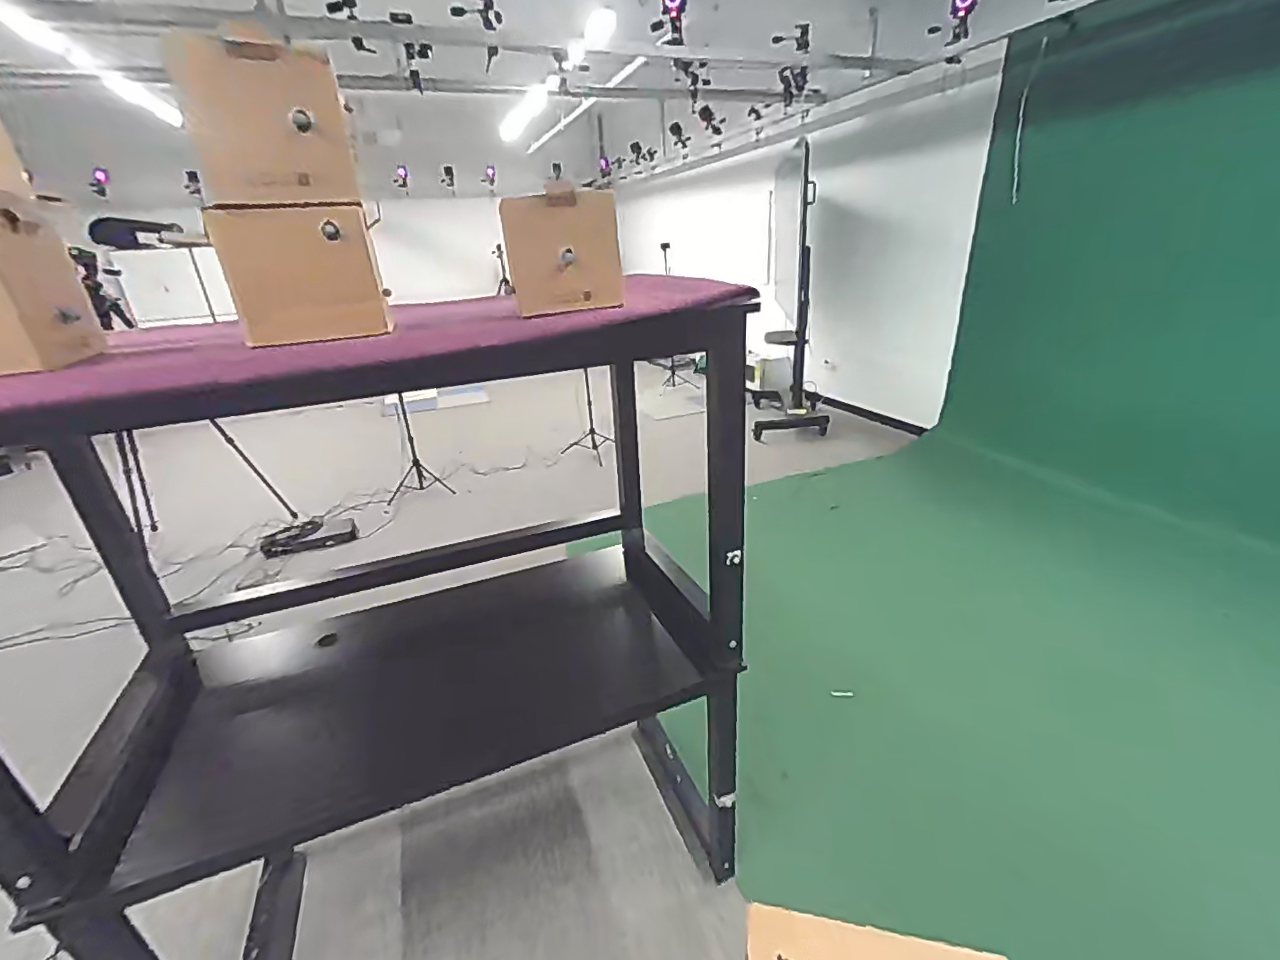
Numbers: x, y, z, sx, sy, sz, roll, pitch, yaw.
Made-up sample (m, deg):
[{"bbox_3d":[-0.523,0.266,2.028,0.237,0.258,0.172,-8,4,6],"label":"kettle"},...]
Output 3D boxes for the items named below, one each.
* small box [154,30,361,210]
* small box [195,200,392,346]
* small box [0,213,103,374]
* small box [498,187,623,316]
[{"bbox_3d":[-0.468,-0.436,0.696,0.168,0.176,0.179,-11,22,-22],"label":"small box"},{"bbox_3d":[-0.464,-0.285,0.755,0.179,0.176,0.168,-12,23,-19],"label":"small box"},{"bbox_3d":[-0.792,-0.210,0.619,0.179,0.176,0.168,-12,26,-19],"label":"small box"},{"bbox_3d":[-0.130,-0.362,0.873,0.168,0.176,0.179,-11,22,-12],"label":"small box"}]
